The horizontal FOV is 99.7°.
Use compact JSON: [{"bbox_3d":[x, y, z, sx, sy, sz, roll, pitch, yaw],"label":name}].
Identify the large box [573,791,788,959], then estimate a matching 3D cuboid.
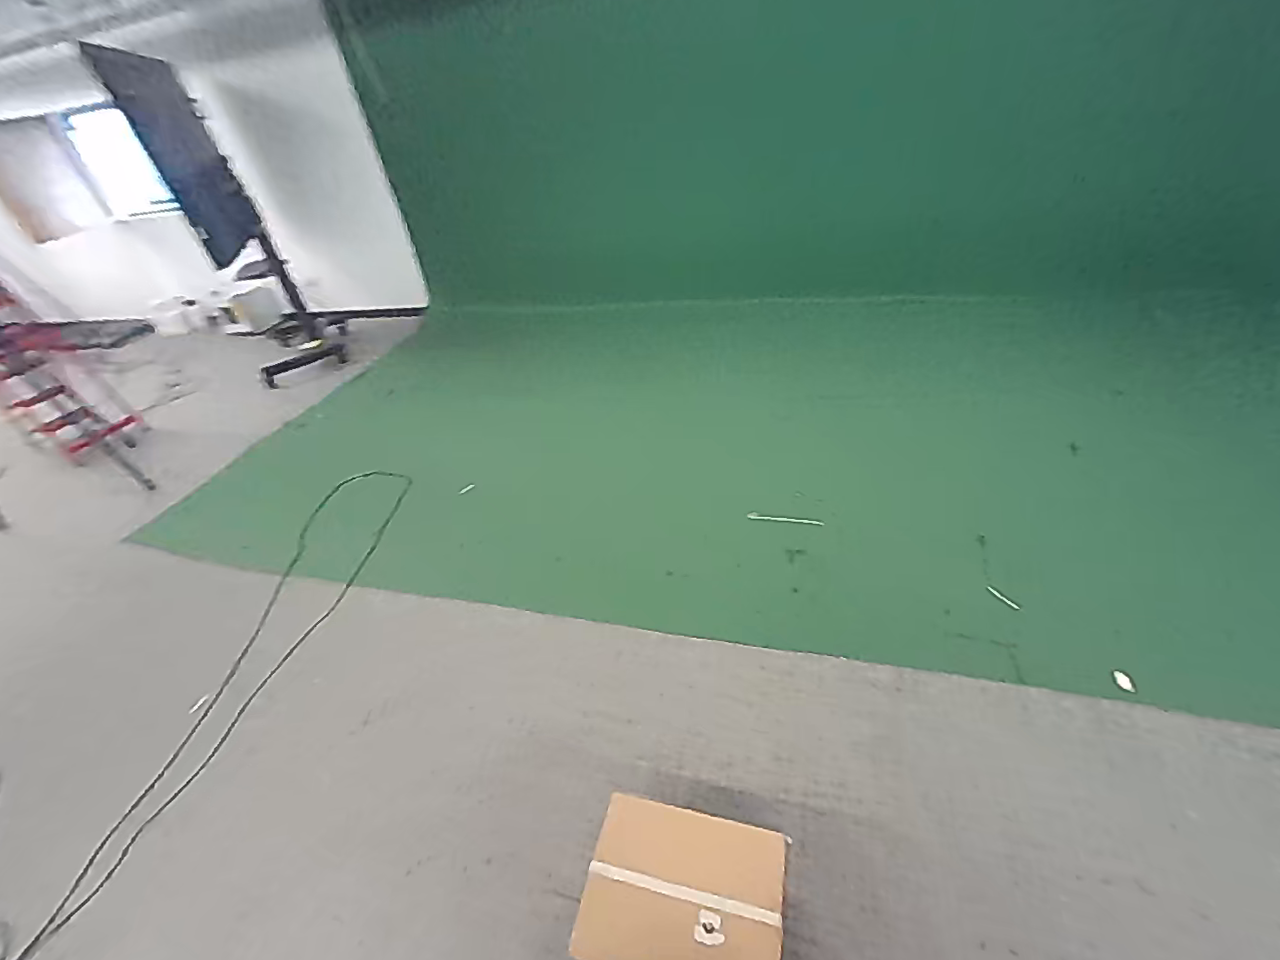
[{"bbox_3d":[0.110,0.958,1.205,0.408,0.320,0.320,4,40,17],"label":"large box"}]
